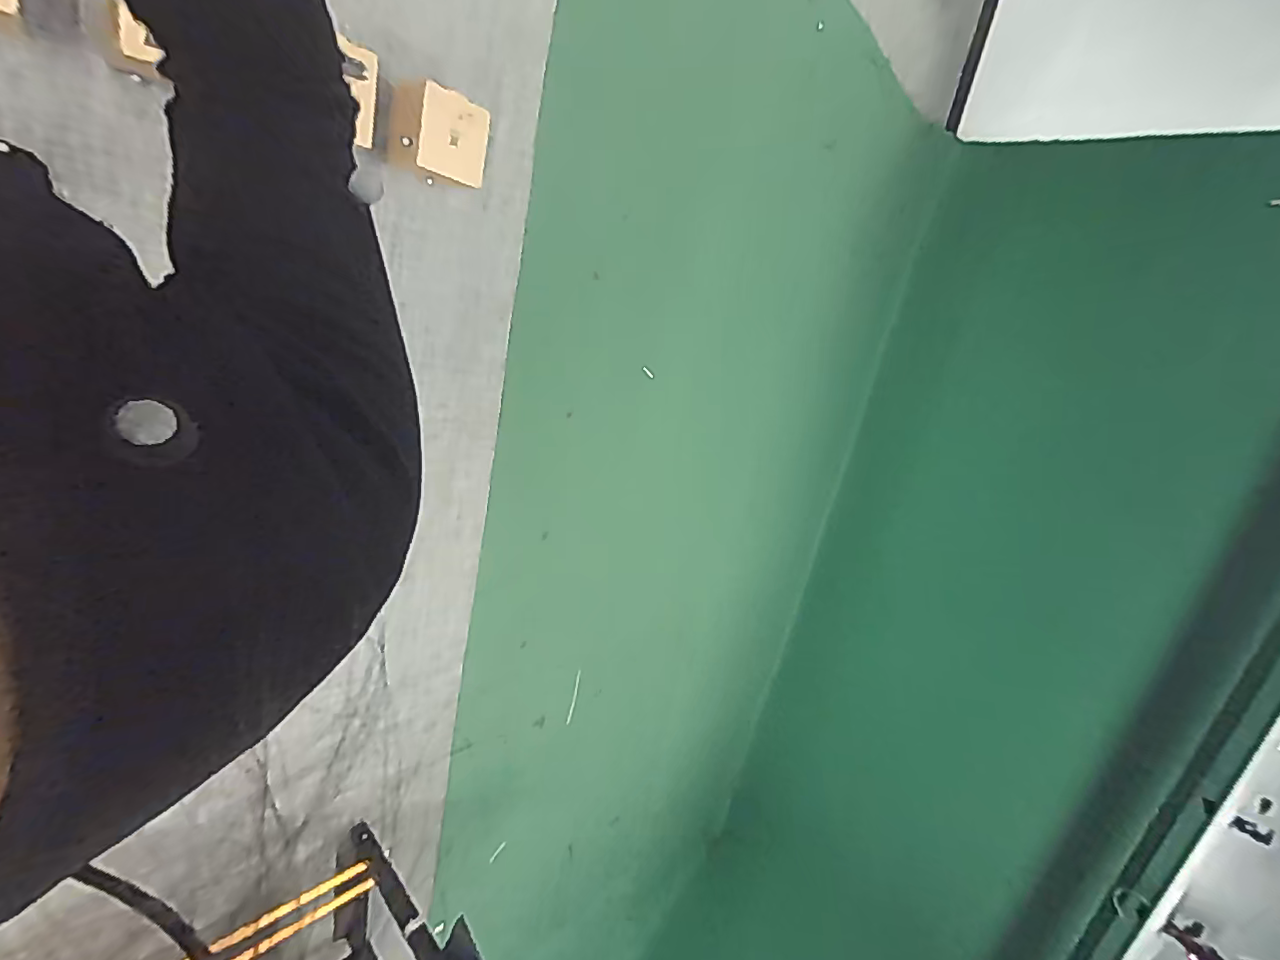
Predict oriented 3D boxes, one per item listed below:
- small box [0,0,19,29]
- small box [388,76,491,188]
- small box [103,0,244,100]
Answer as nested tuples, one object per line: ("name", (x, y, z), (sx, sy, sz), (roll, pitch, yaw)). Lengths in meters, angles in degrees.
("small box", (-0.981, -0.767, 0.736), (0.168, 0.176, 0.179), (-5, 114, -48))
("small box", (-0.483, -0.819, 1.291), (0.168, 0.176, 0.179), (-5, 114, -49))
("small box", (-0.800, -0.789, 0.930), (0.168, 0.176, 0.179), (-6, 113, -47))
